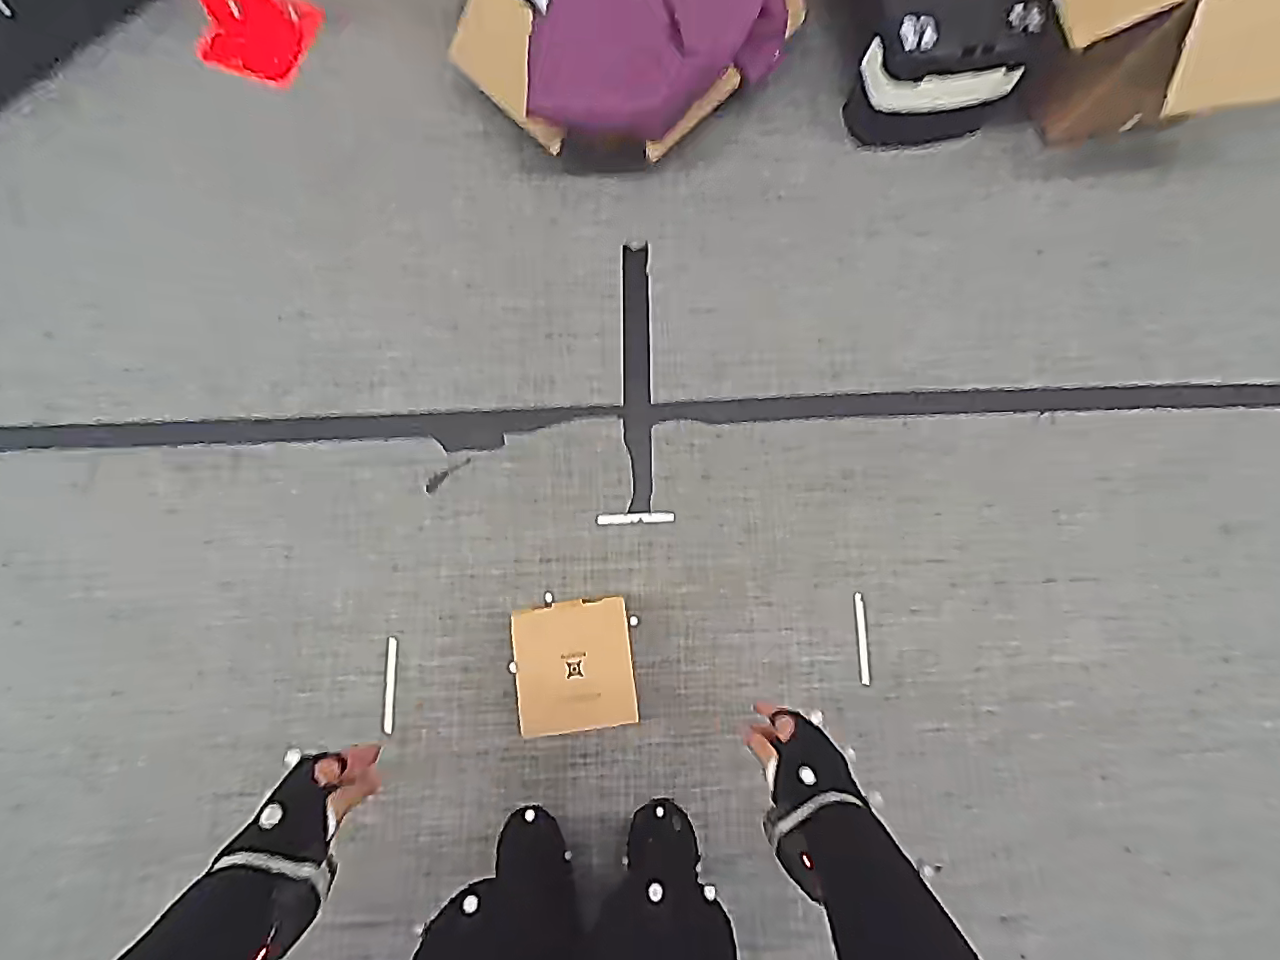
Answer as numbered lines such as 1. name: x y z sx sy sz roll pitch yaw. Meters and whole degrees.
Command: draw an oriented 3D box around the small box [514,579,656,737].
1. small box: -0.074 0.237 0.763 0.168 0.176 0.179 -8 82 -3
